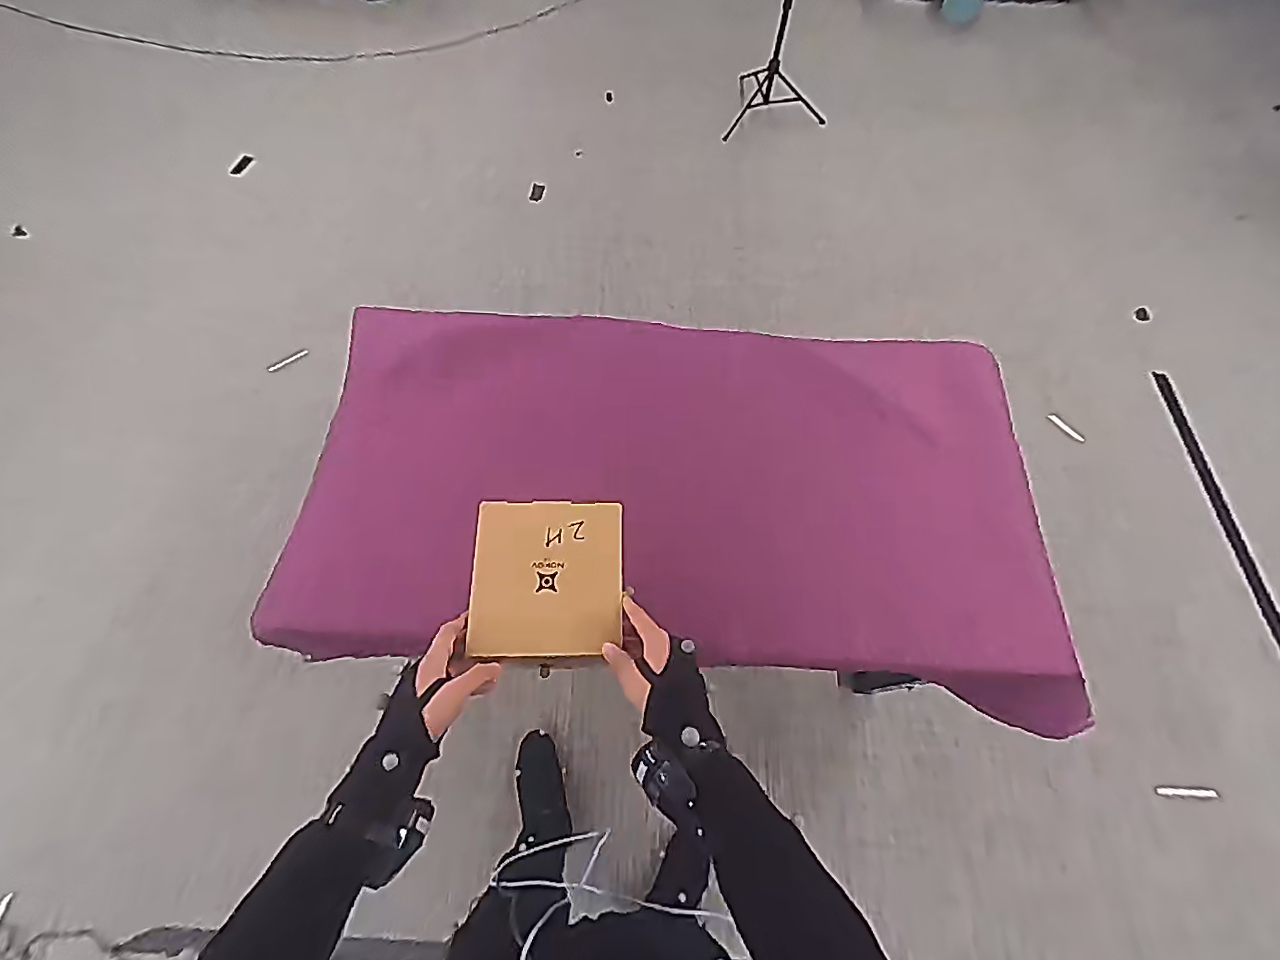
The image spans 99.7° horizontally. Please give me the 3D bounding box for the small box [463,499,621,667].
[{"bbox_3d":[-0.110,0.136,0.674,0.168,0.176,0.179,2,66,-5],"label":"small box"}]
